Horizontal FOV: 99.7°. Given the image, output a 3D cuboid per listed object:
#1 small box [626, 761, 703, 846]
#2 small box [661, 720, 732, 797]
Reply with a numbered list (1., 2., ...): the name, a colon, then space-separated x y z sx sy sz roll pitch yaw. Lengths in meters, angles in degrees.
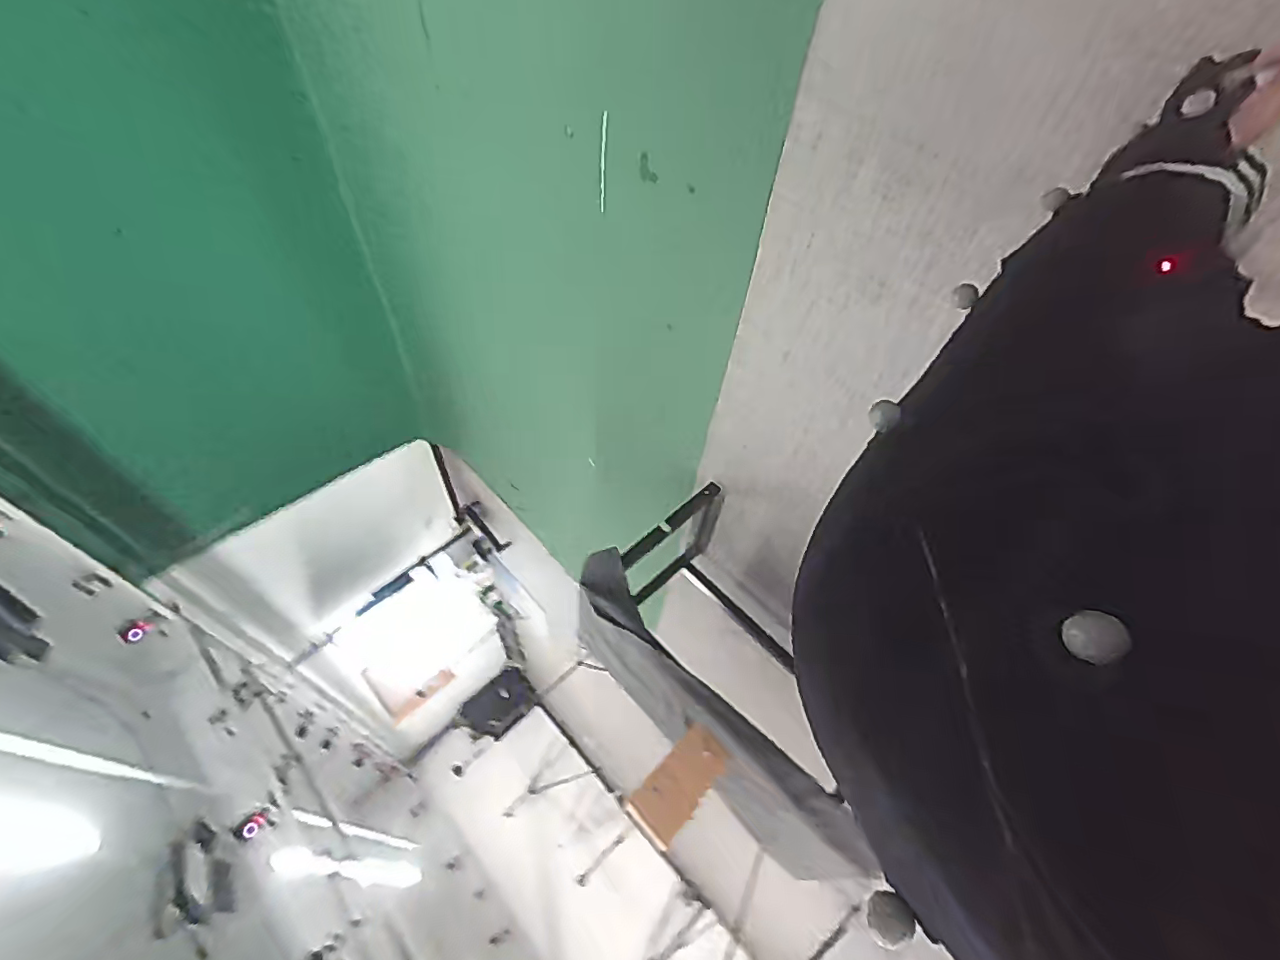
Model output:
1. small box: 0.075 1.037 1.746 0.179 0.176 0.168 39 150 24
2. small box: 0.187 0.949 1.825 0.168 0.176 0.179 41 149 23
